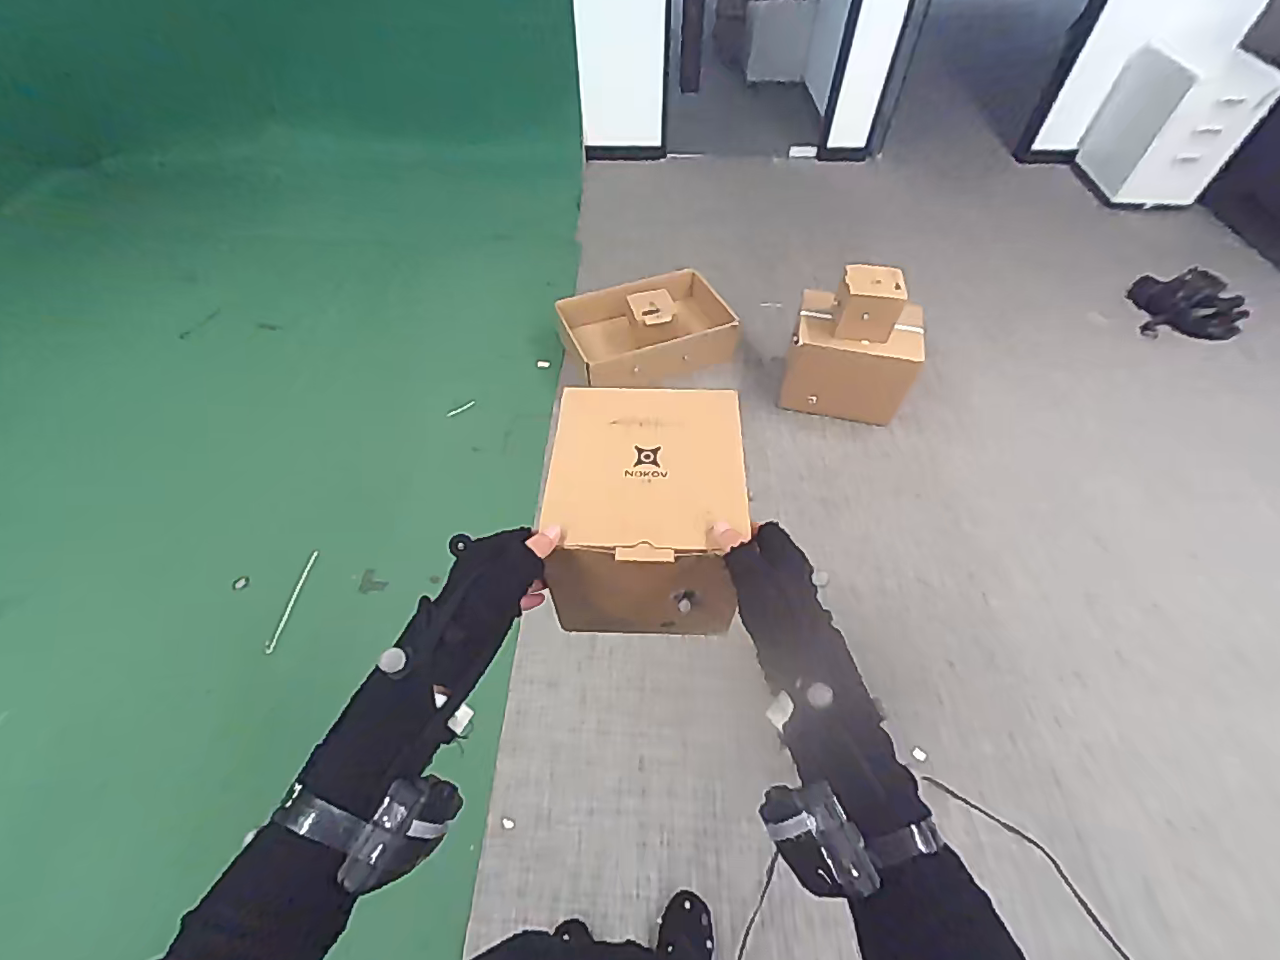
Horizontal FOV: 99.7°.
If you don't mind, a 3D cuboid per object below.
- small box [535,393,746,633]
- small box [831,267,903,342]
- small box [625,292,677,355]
[{"bbox_3d":[0.004,0.036,0.523,0.168,0.176,0.179,1,51,1],"label":"small box"},{"bbox_3d":[0.725,-0.566,1.752,0.179,0.176,0.168,6,54,5],"label":"small box"},{"bbox_3d":[0.042,-0.604,2.112,0.168,0.176,0.179,-12,52,-8],"label":"small box"}]
